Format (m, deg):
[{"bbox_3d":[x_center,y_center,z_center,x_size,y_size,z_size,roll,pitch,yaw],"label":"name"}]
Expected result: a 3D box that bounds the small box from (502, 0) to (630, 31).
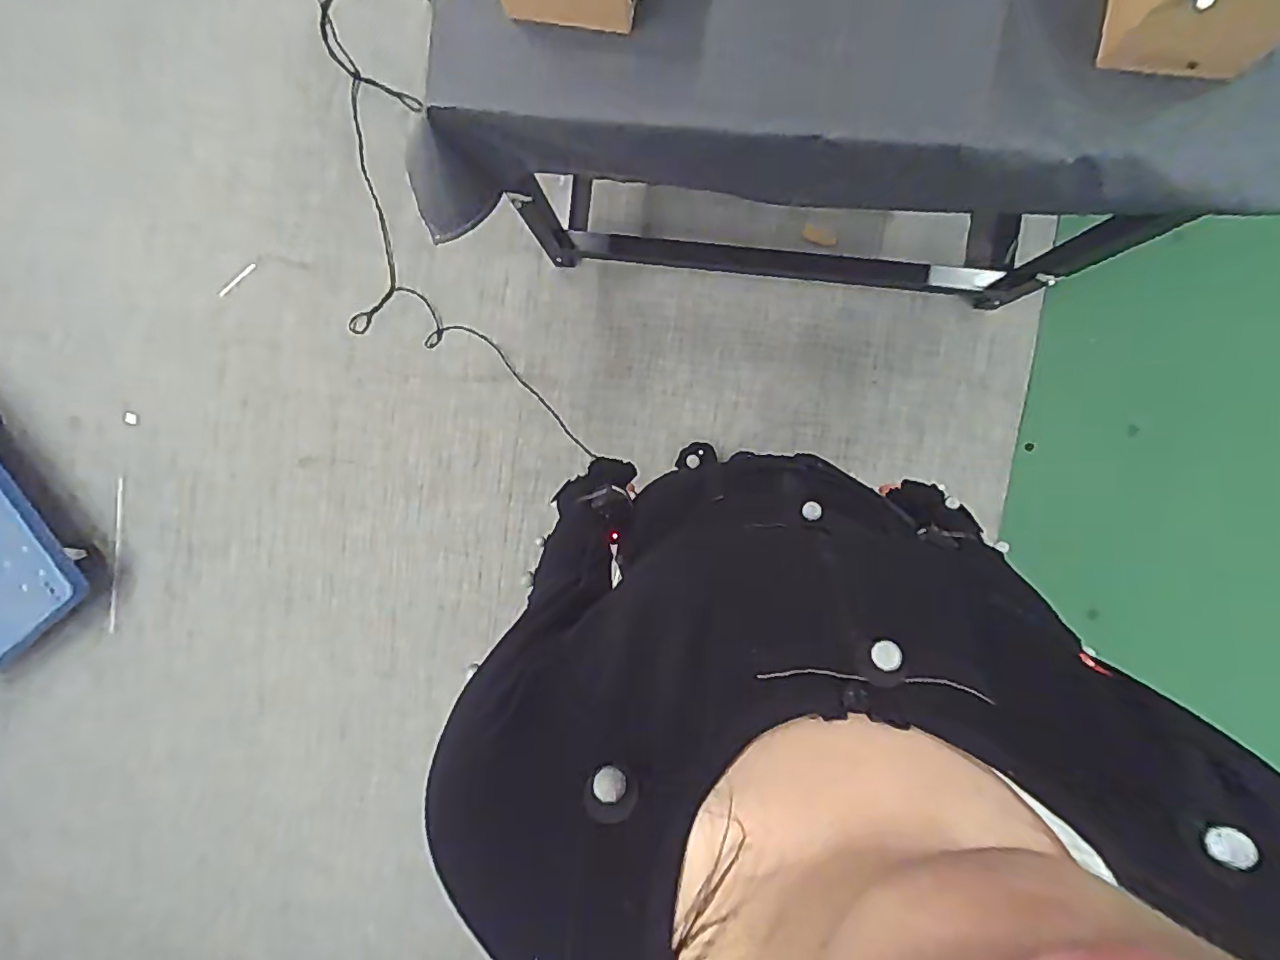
[{"bbox_3d":[-0.092,-0.699,0.660,0.179,0.176,0.168,10,93,4],"label":"small box"}]
